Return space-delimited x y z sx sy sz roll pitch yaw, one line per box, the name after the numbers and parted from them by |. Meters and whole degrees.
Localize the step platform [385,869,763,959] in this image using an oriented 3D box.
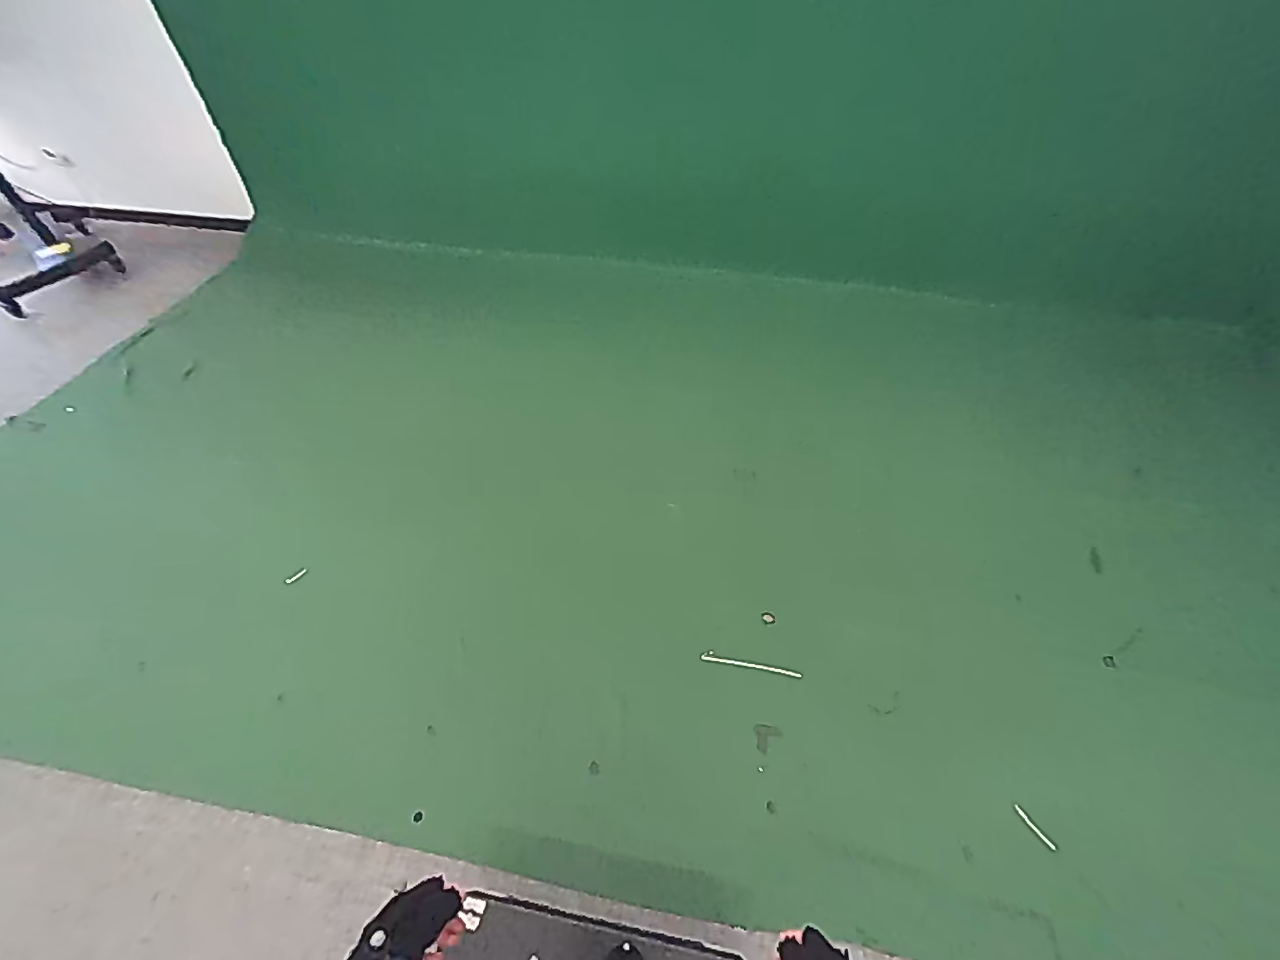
-0.122 0.959 0.995 0.684 0.204 0.286 7 50 7 | step platform
